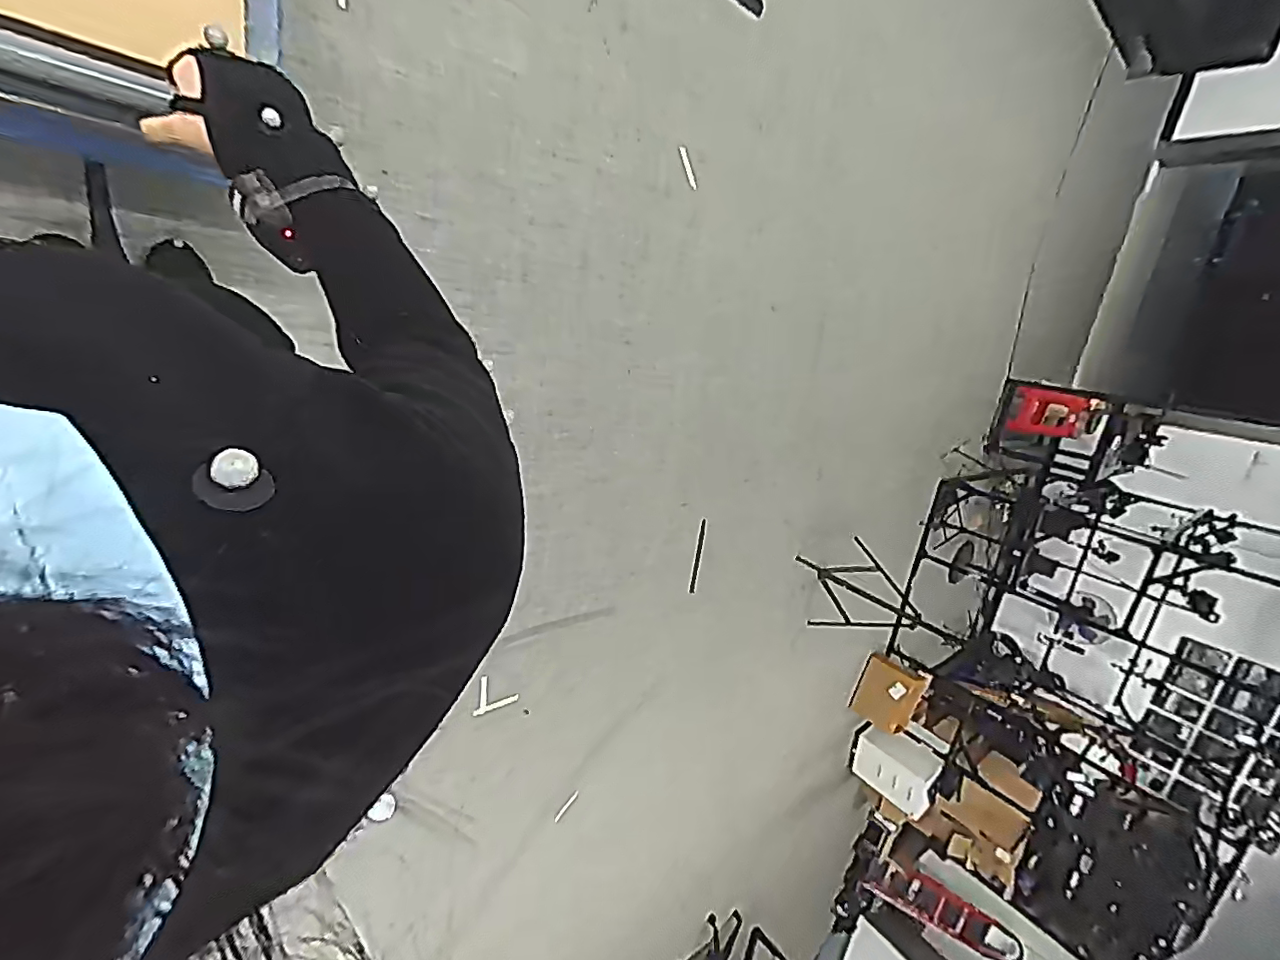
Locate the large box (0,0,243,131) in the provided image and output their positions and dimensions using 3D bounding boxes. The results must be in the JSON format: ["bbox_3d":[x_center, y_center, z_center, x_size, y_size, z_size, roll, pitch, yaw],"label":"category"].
[{"bbox_3d":[-0.757,-0.687,0.661,0.408,0.320,0.320,-4,111,-41],"label":"large box"}]
